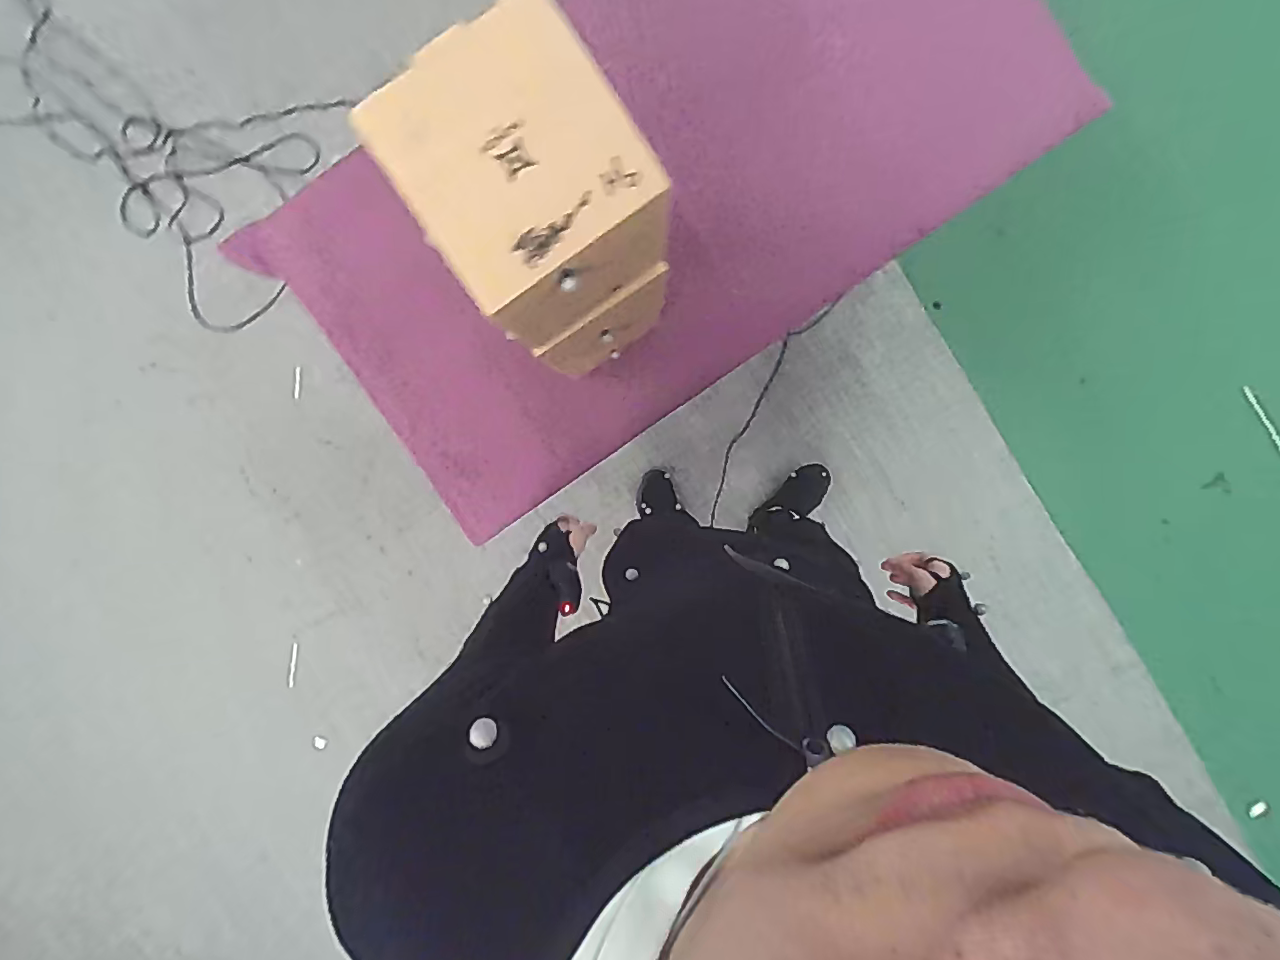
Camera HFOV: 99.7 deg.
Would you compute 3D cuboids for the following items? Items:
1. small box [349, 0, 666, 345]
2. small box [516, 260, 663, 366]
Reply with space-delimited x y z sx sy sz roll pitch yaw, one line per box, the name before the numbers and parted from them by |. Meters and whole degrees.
small box | -0.094 -0.241 0.464 0.168 0.176 0.179 -35 93 5
small box | -0.085 -0.247 0.628 0.168 0.176 0.179 -33 93 3
